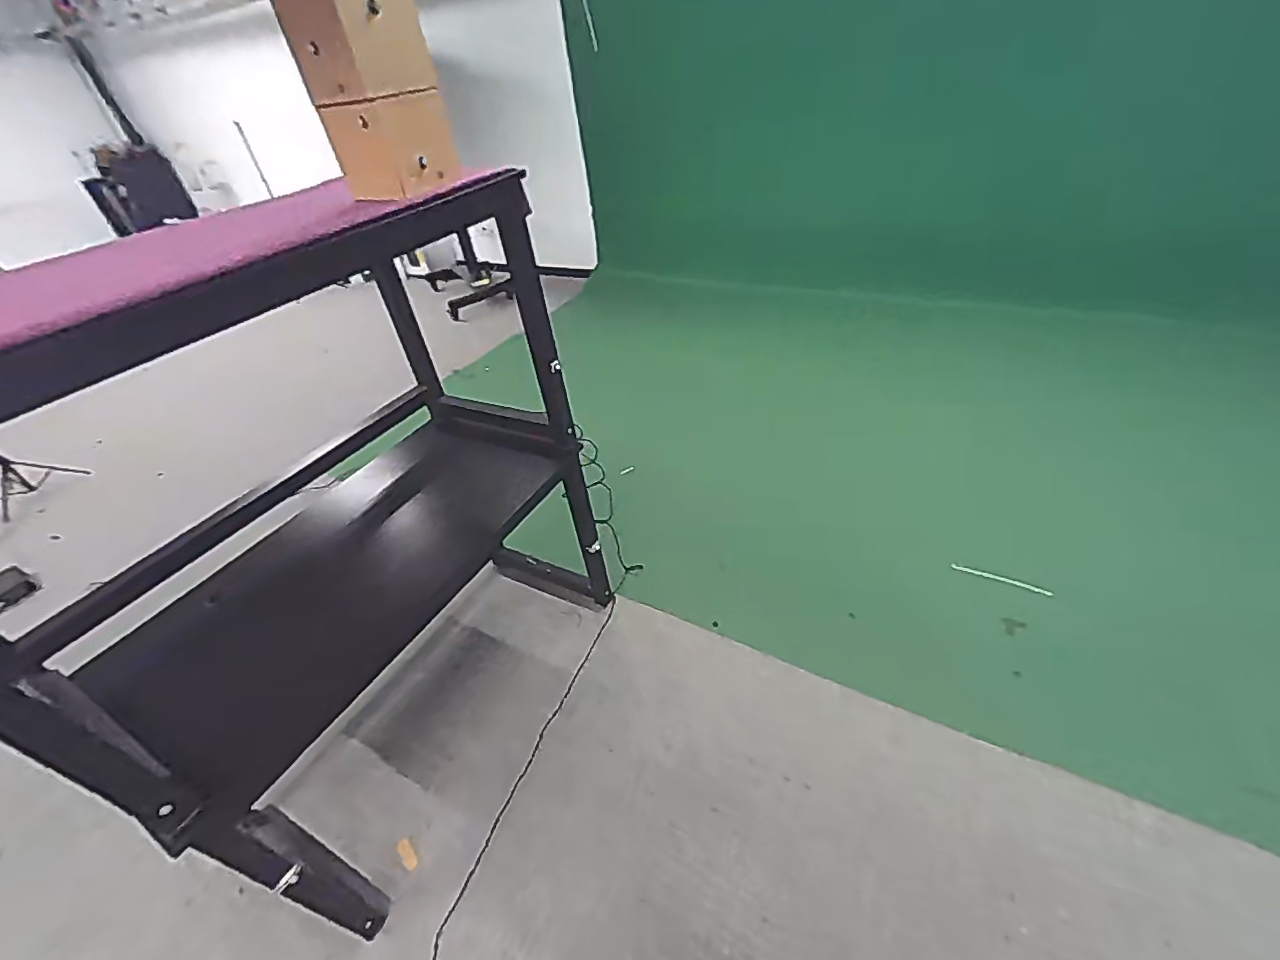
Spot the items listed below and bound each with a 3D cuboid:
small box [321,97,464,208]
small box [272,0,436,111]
[{"bbox_3d":[-0.496,-0.665,1.102,0.179,0.176,0.168,15,45,26],"label":"small box"},{"bbox_3d":[-0.511,-0.787,0.992,0.168,0.176,0.179,16,45,26],"label":"small box"}]
